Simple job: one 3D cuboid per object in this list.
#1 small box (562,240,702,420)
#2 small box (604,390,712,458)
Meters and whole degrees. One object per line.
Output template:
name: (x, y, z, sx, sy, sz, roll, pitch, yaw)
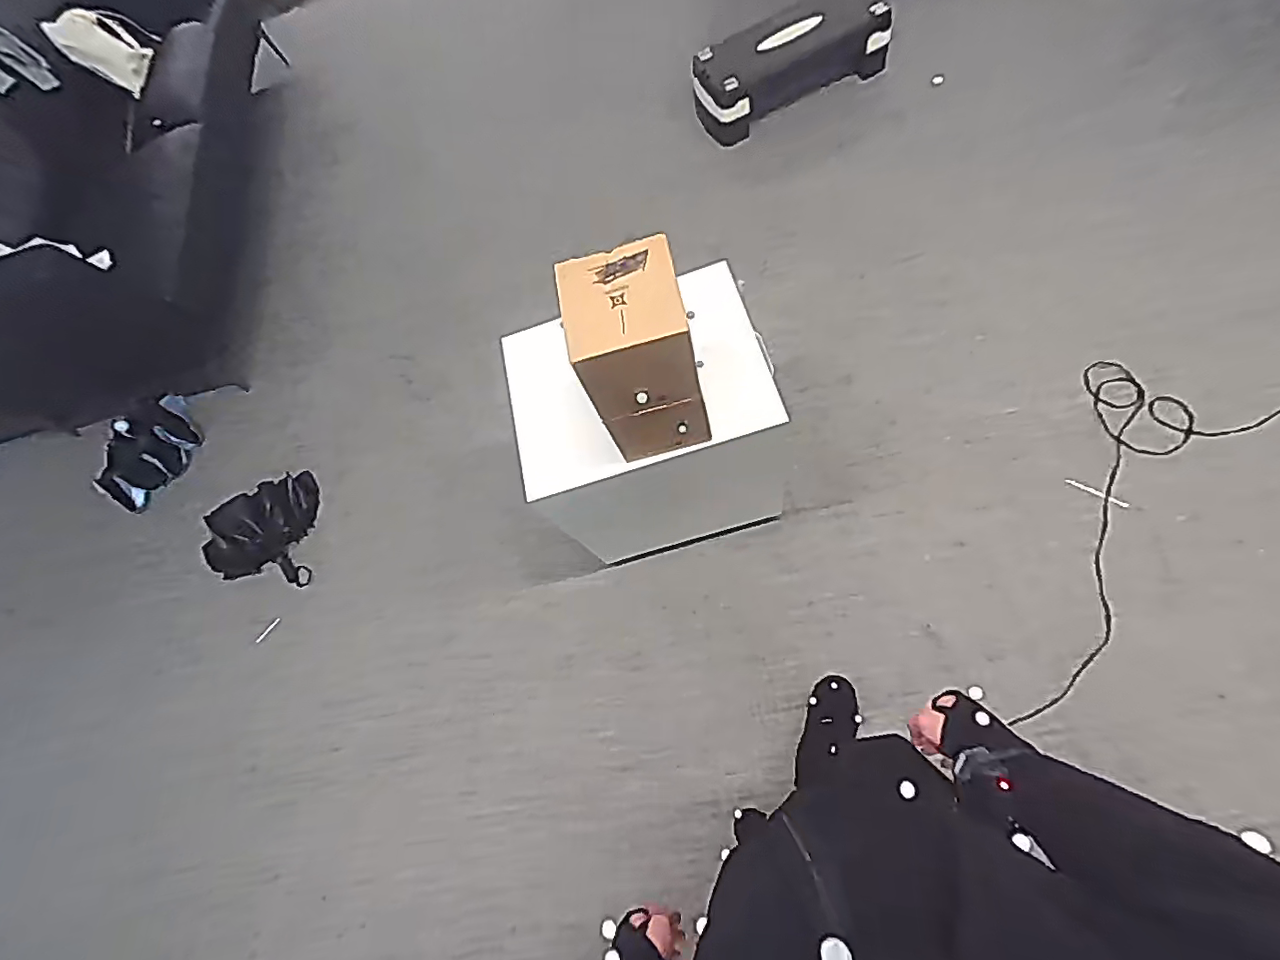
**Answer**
small box: (-0.007, -0.216, 0.814, 0.168, 0.176, 0.179, -13, 67, 7)
small box: (0.026, -0.154, 0.962, 0.168, 0.176, 0.179, -14, 64, 6)
